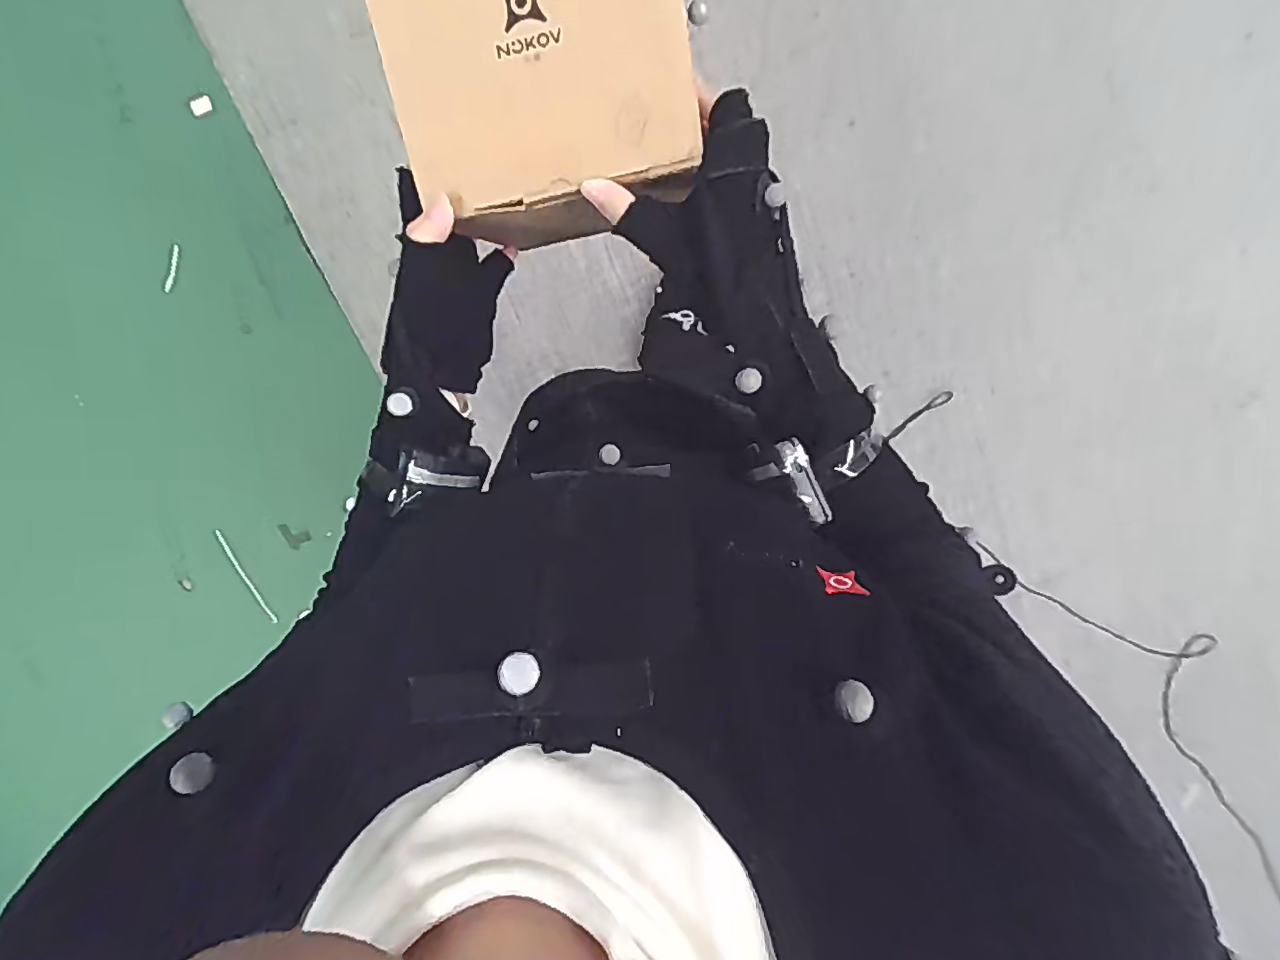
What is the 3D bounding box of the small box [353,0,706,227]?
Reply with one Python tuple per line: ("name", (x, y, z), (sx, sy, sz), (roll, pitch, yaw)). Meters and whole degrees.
("small box", (-0.054, -0.274, 0.345), (0.168, 0.176, 0.179), (-12, 108, 12))
